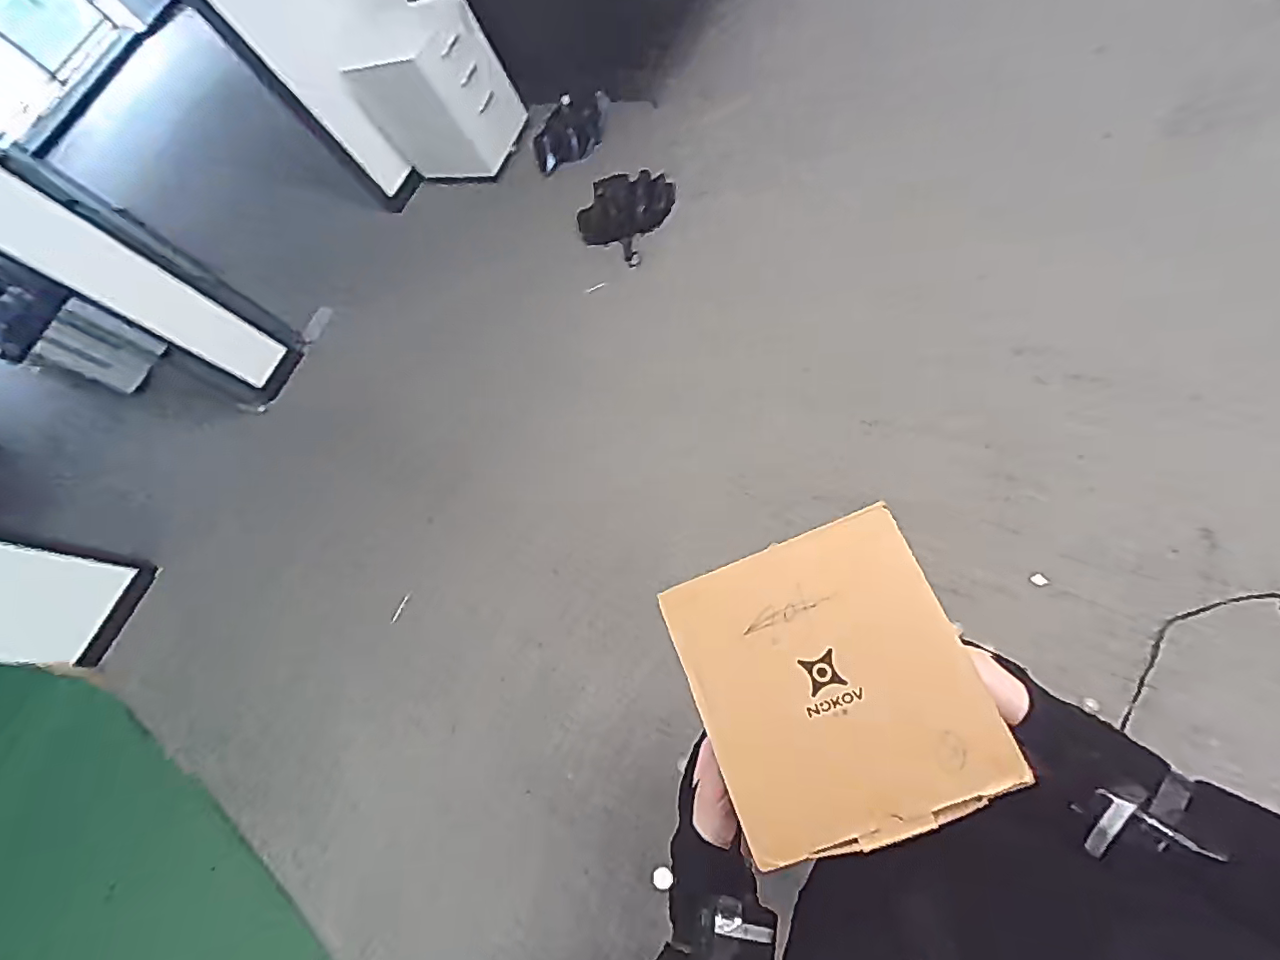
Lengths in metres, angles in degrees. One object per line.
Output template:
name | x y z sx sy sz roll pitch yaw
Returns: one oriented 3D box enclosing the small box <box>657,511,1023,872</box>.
small box | 0.132 0.146 0.411 0.168 0.176 0.179 -23 70 6
